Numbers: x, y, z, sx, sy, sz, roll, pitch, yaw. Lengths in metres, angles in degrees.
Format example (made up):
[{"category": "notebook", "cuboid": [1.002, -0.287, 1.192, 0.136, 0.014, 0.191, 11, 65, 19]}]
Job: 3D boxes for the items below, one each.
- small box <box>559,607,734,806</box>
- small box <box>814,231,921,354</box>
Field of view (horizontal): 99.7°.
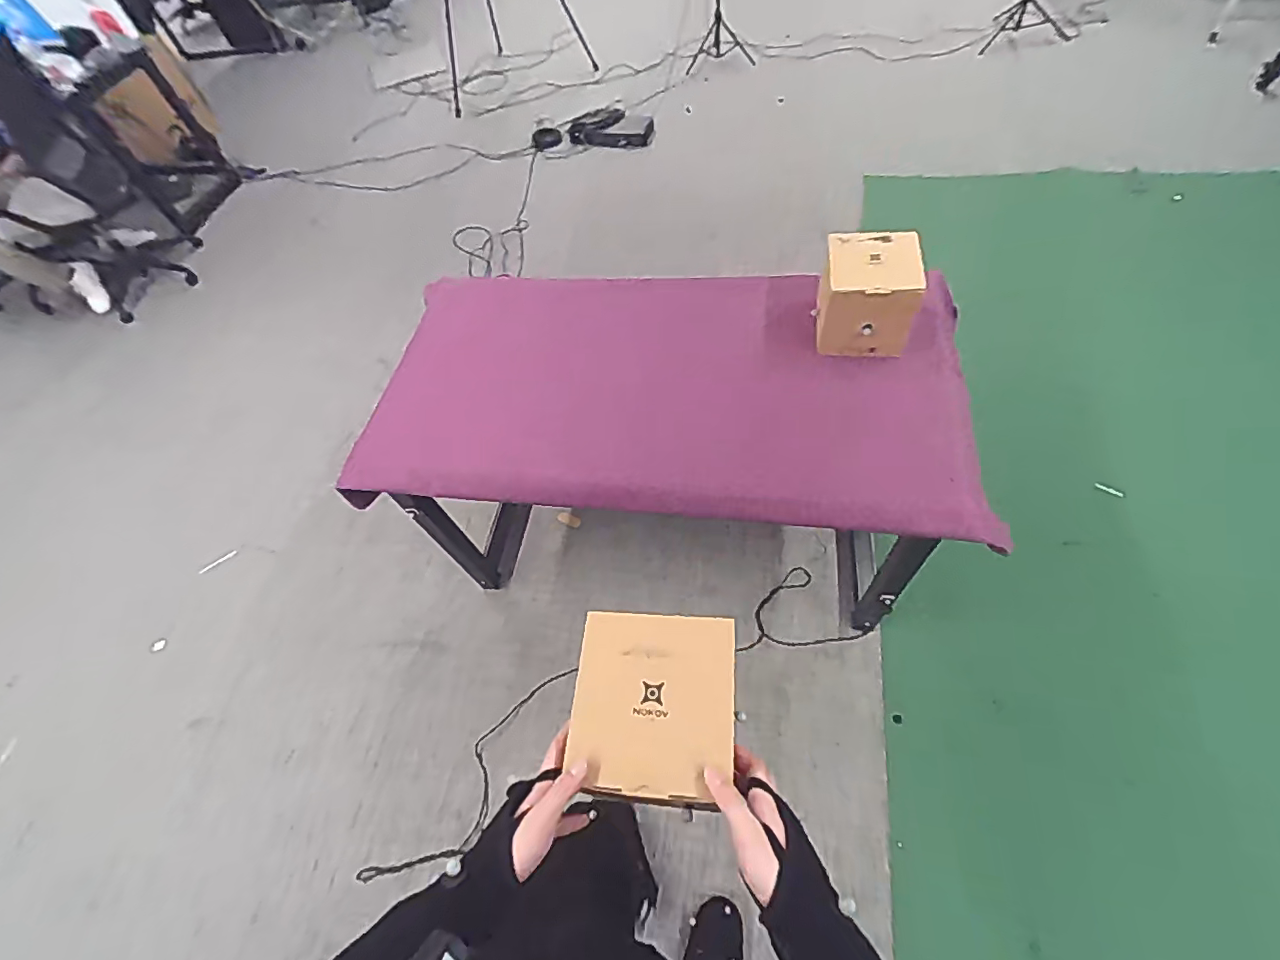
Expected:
[{"category": "small box", "cuboid": [0.021, 0.261, 0.616, 0.168, 0.176, 0.179, 1, 56, 10]}, {"category": "small box", "cuboid": [0.446, -0.370, 1.085, 0.168, 0.176, 0.179, 3, 59, 12]}]
